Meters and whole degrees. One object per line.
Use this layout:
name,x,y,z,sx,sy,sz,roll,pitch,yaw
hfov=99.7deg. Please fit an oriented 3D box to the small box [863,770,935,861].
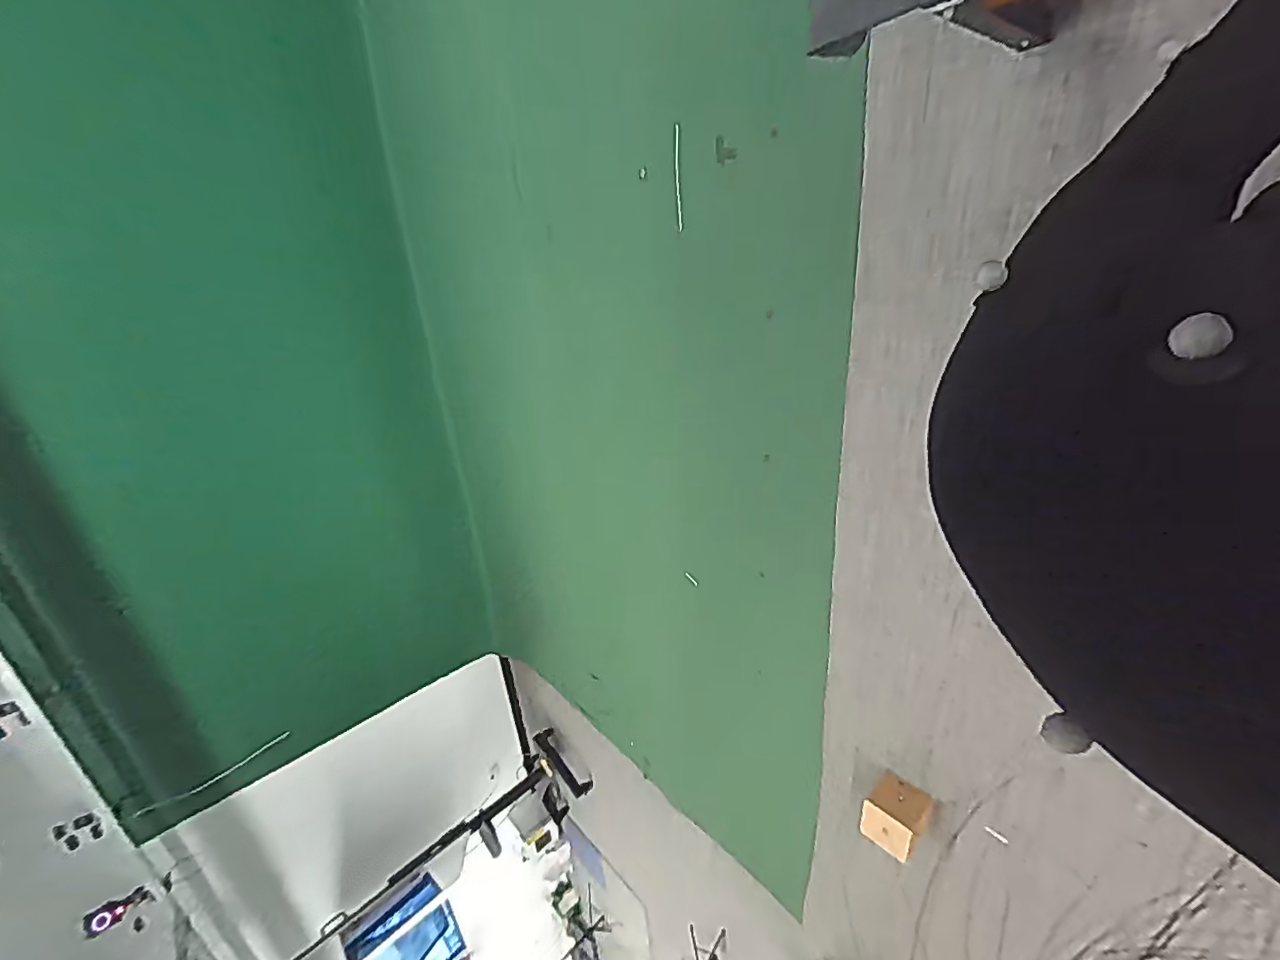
small box,0.909,1.166,1.896,0.168,0.176,0.179,22,125,45
